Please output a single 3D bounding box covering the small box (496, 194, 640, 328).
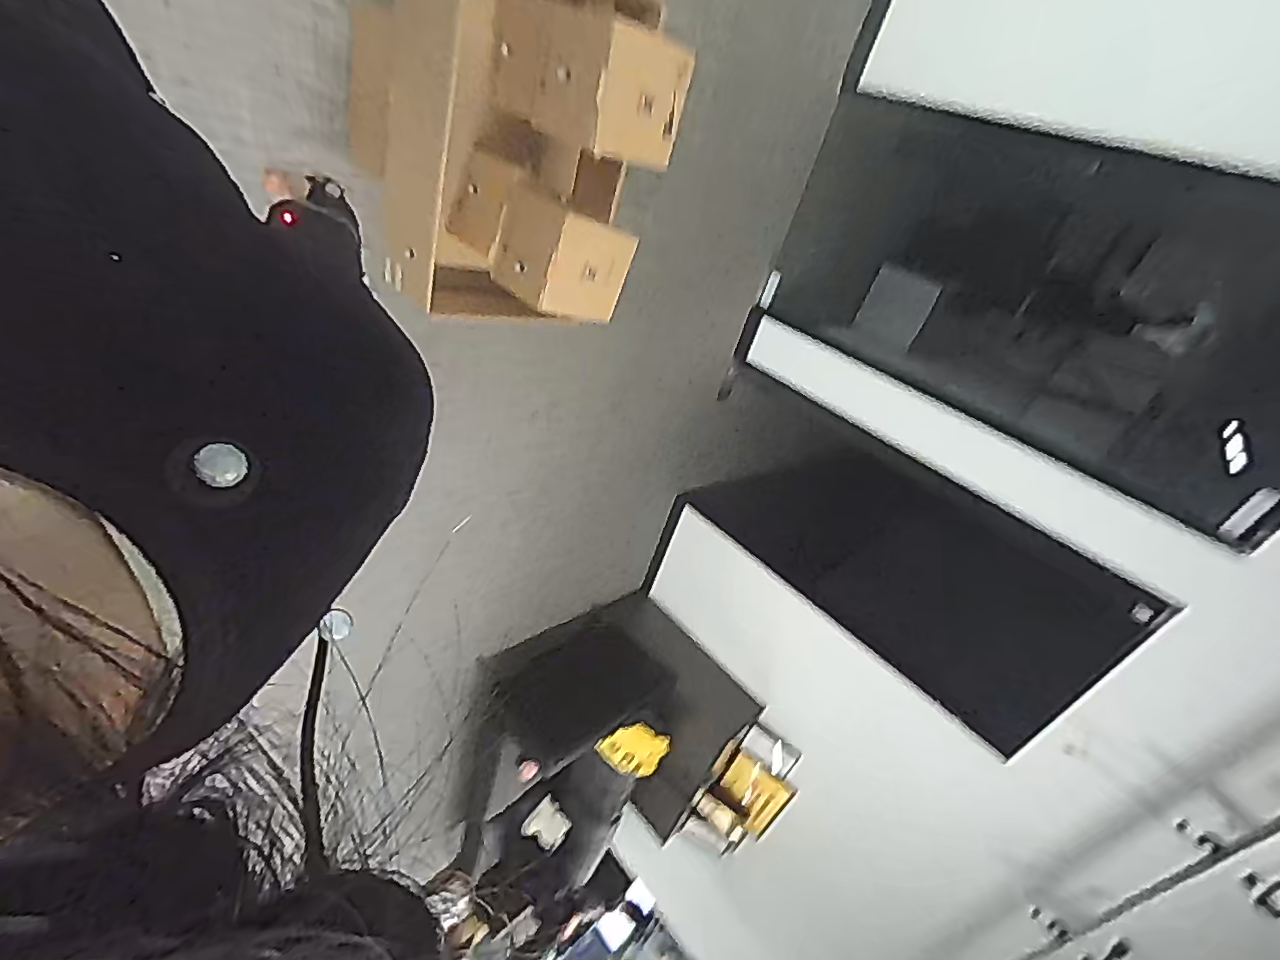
[{"bbox_3d":[-0.138,-0.403,0.999,0.179,0.176,0.168,-7,130,-48],"label":"small box"}]

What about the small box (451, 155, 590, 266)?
[{"bbox_3d":[-0.238,-0.511,1.071,0.179,0.176,0.168,0,125,-51],"label":"small box"}]

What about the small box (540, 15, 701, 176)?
[{"bbox_3d":[-0.039,-0.620,0.877,0.179,0.176,0.168,-15,137,-42],"label":"small box"}]

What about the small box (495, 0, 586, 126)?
[{"bbox_3d":[-0.132,-0.723,0.965,0.179,0.176,0.168,-16,136,-42],"label":"small box"}]
